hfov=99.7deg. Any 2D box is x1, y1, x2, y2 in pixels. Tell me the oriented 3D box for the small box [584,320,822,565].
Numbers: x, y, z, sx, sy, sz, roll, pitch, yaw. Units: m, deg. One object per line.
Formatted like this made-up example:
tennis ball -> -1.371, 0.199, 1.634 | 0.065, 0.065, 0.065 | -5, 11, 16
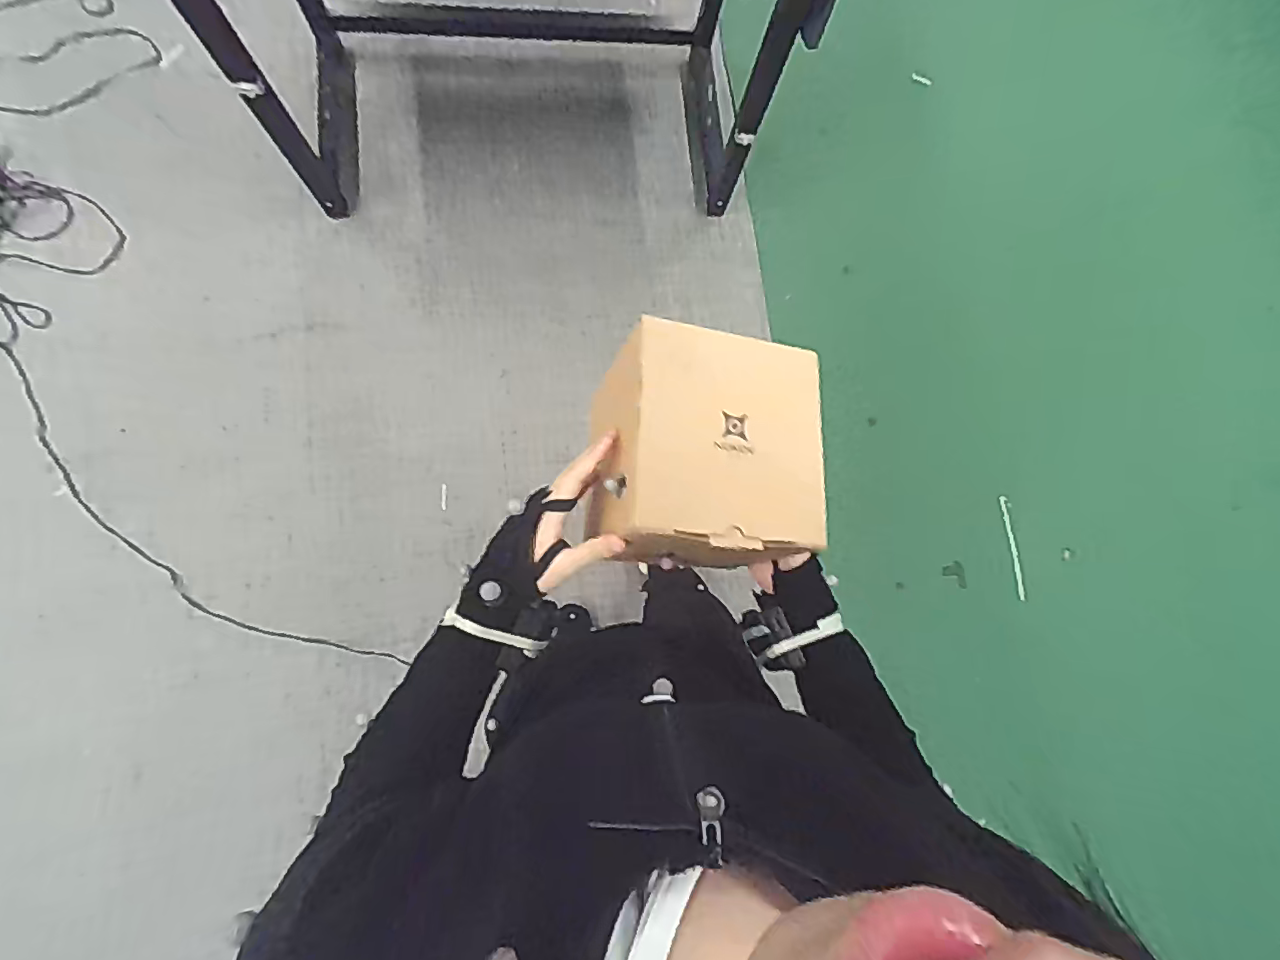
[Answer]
small box -> 0.048, -0.019, 0.511 | 0.168, 0.176, 0.179 | 6, 75, -18
